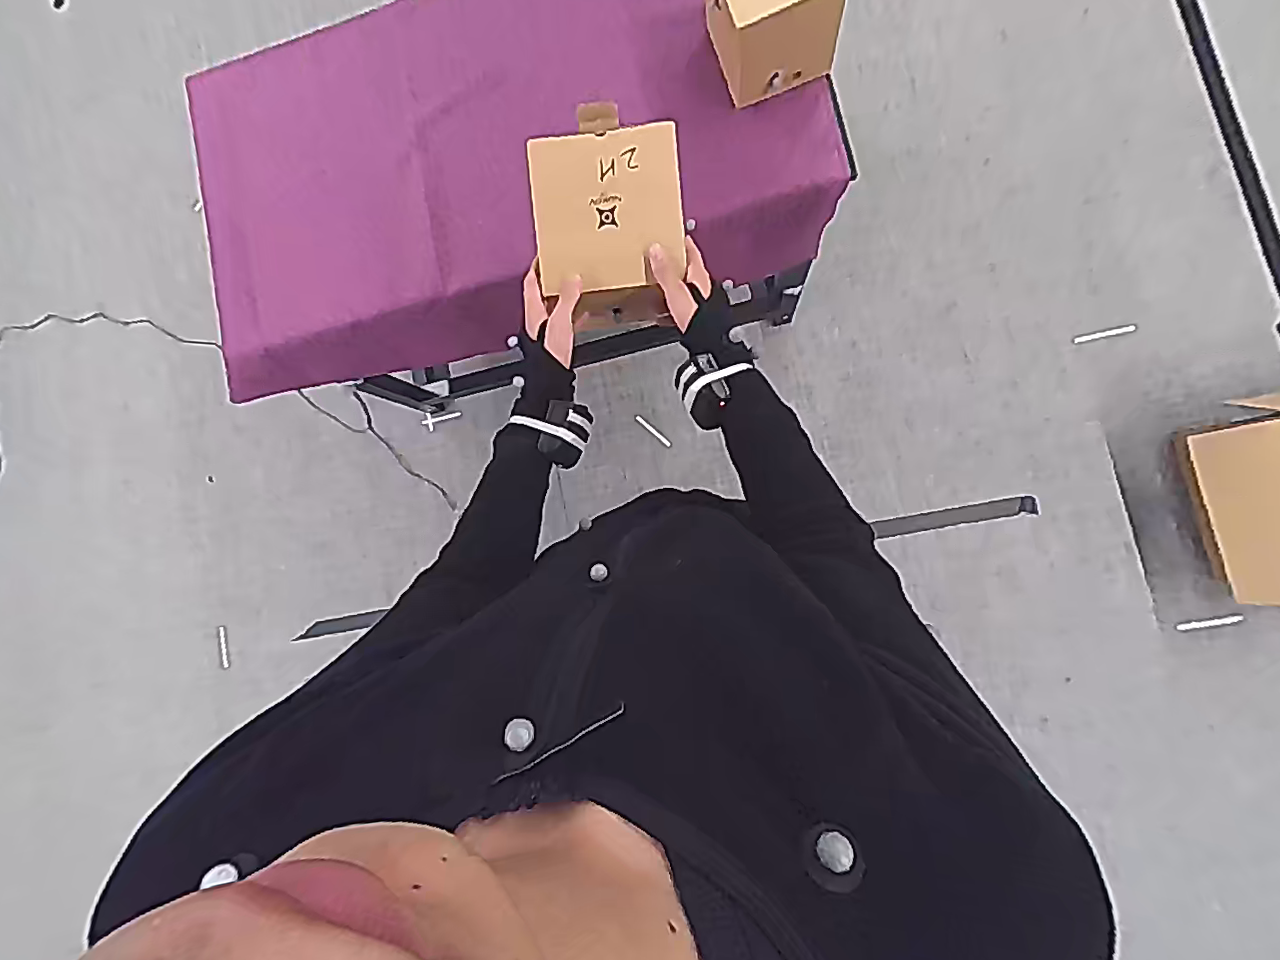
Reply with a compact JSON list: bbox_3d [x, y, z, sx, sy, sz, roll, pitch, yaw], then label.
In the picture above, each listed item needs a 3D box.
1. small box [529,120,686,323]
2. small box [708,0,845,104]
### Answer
[{"bbox_3d":[-0.031,-0.301,0.671,0.168,0.176,0.179,-5,92,3],"label":"small box"},{"bbox_3d":[0.202,-0.744,0.840,0.168,0.176,0.179,-17,84,9],"label":"small box"}]
